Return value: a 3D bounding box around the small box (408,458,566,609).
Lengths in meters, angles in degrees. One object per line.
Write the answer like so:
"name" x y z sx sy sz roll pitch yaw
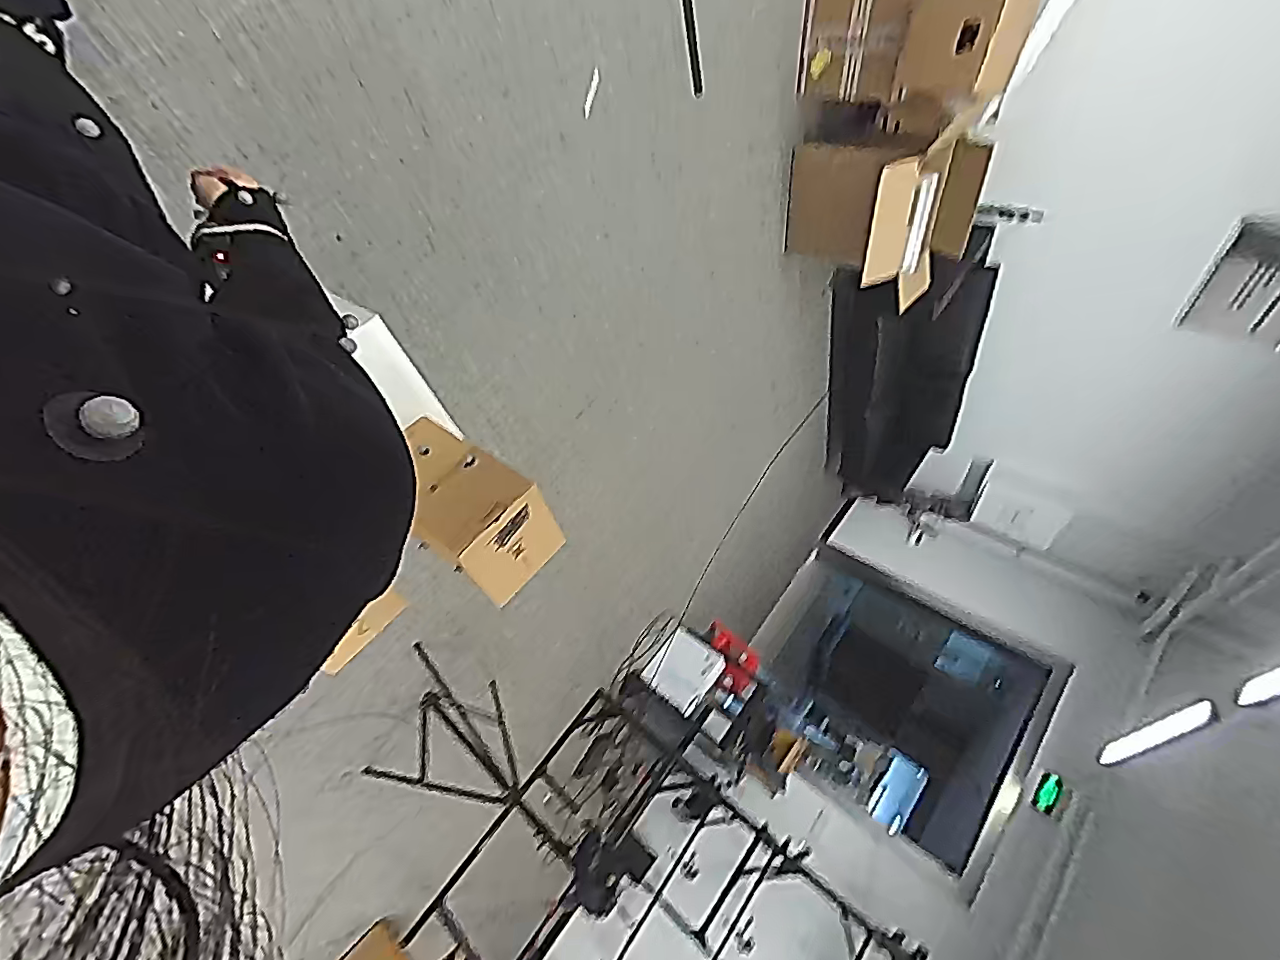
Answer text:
"small box" -0.261 0.083 0.933 0.168 0.176 0.179 -46 146 -23

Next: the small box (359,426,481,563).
"small box" -0.386 0.018 1.018 0.168 0.176 0.179 -45 145 -24
